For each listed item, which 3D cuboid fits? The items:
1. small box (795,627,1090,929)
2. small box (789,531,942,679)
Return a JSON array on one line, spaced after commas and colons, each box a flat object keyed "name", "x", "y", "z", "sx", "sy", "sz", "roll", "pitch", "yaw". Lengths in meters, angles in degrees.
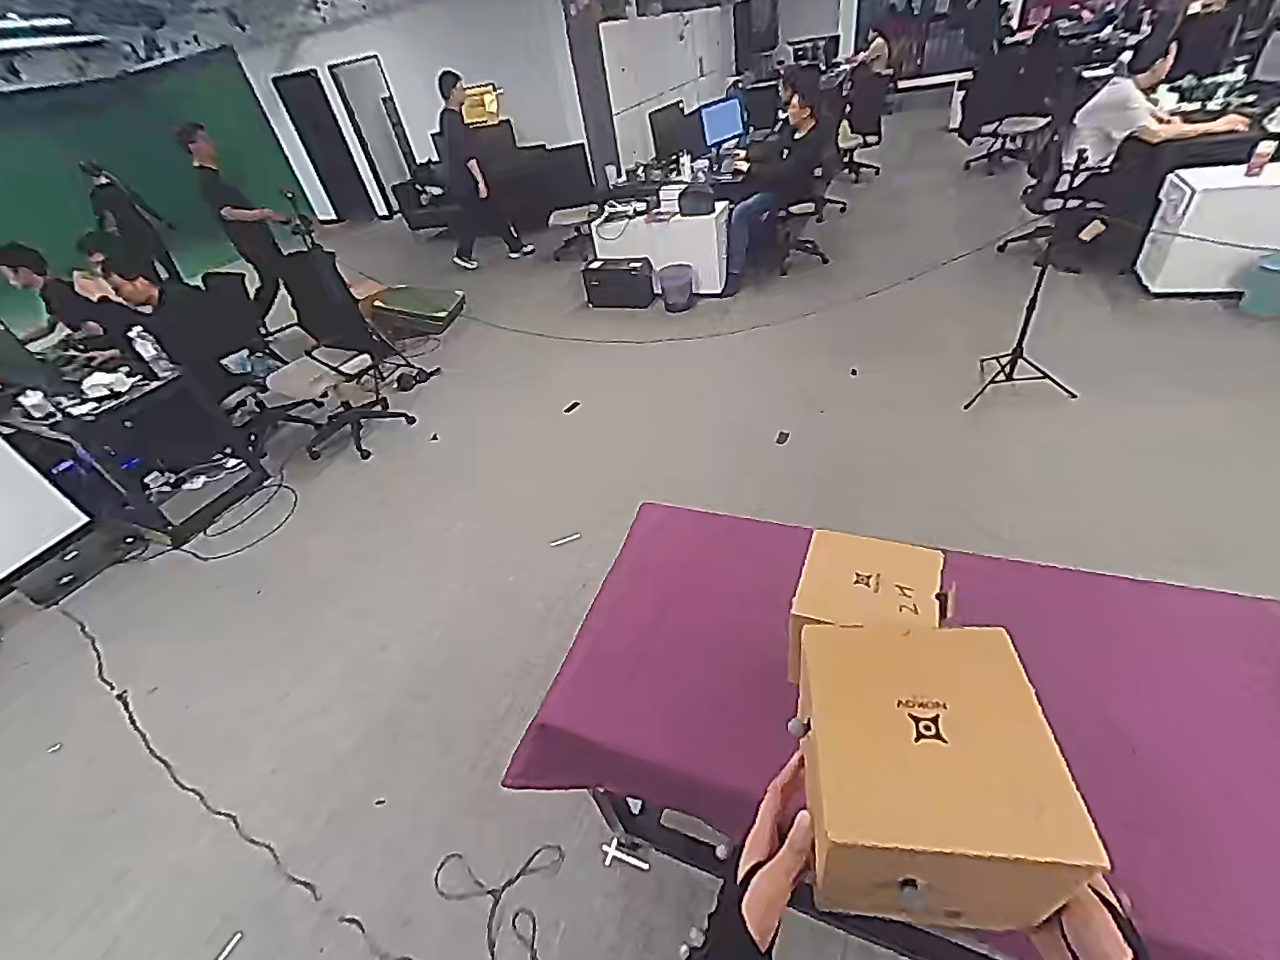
[{"name": "small box", "x": 0.224, "y": 0.247, "z": 0.458, "sx": 0.168, "sy": 0.176, "sz": 0.179, "roll": -3, "pitch": 37, "yaw": 12}, {"name": "small box", "x": 0.319, "y": 0.202, "z": 0.778, "sx": 0.179, "sy": 0.176, "sz": 0.168, "roll": 10, "pitch": 43, "yaw": 25}]
